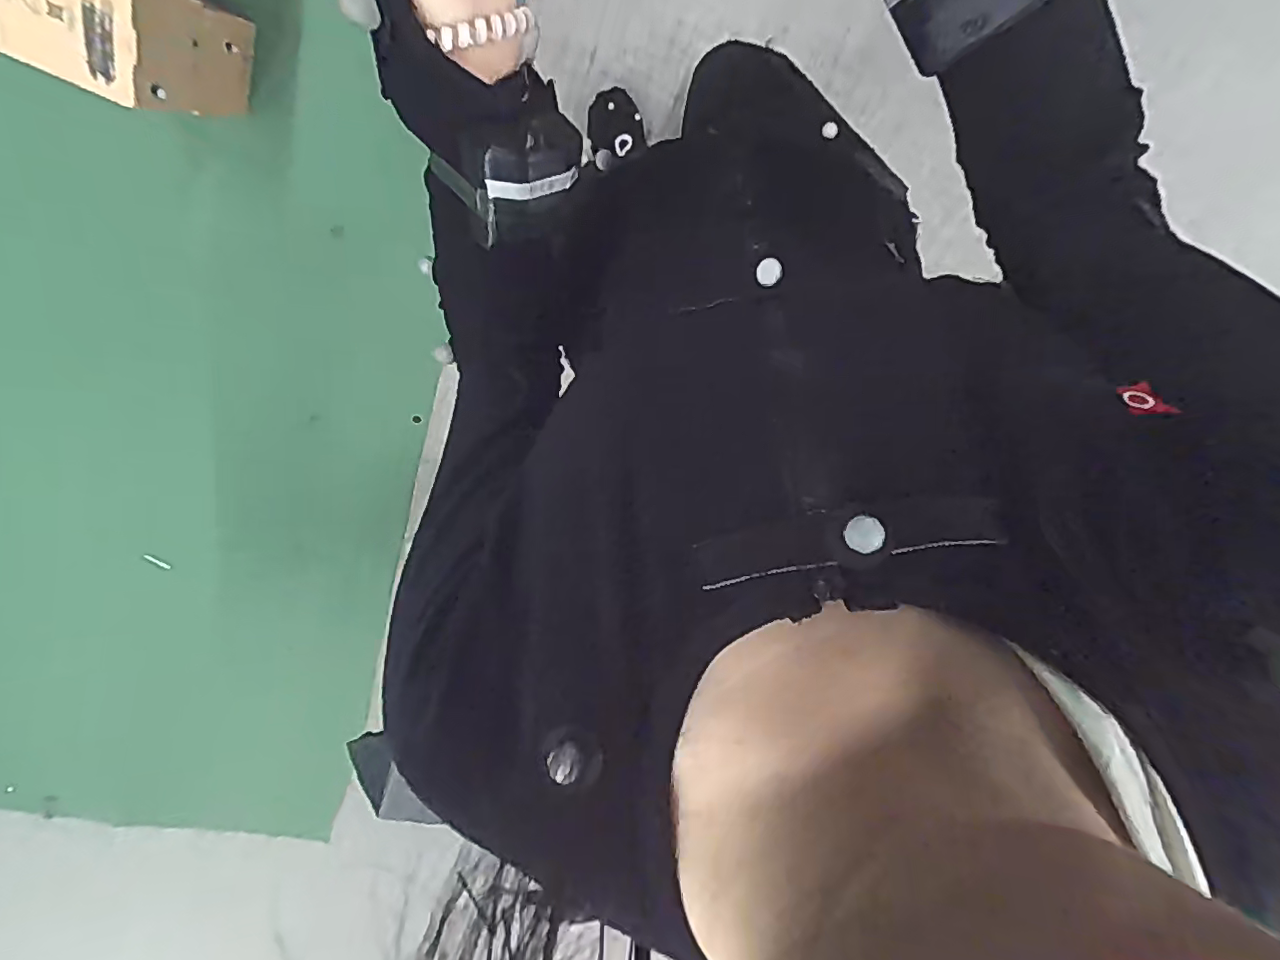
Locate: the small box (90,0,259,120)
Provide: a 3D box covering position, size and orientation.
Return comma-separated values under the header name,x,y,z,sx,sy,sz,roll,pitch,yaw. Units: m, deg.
name,x,y,z,sx,sy,sz,roll,pitch,yaw
small box,-0.827,-0.785,0.975,0.179,0.176,0.168,21,119,-18
